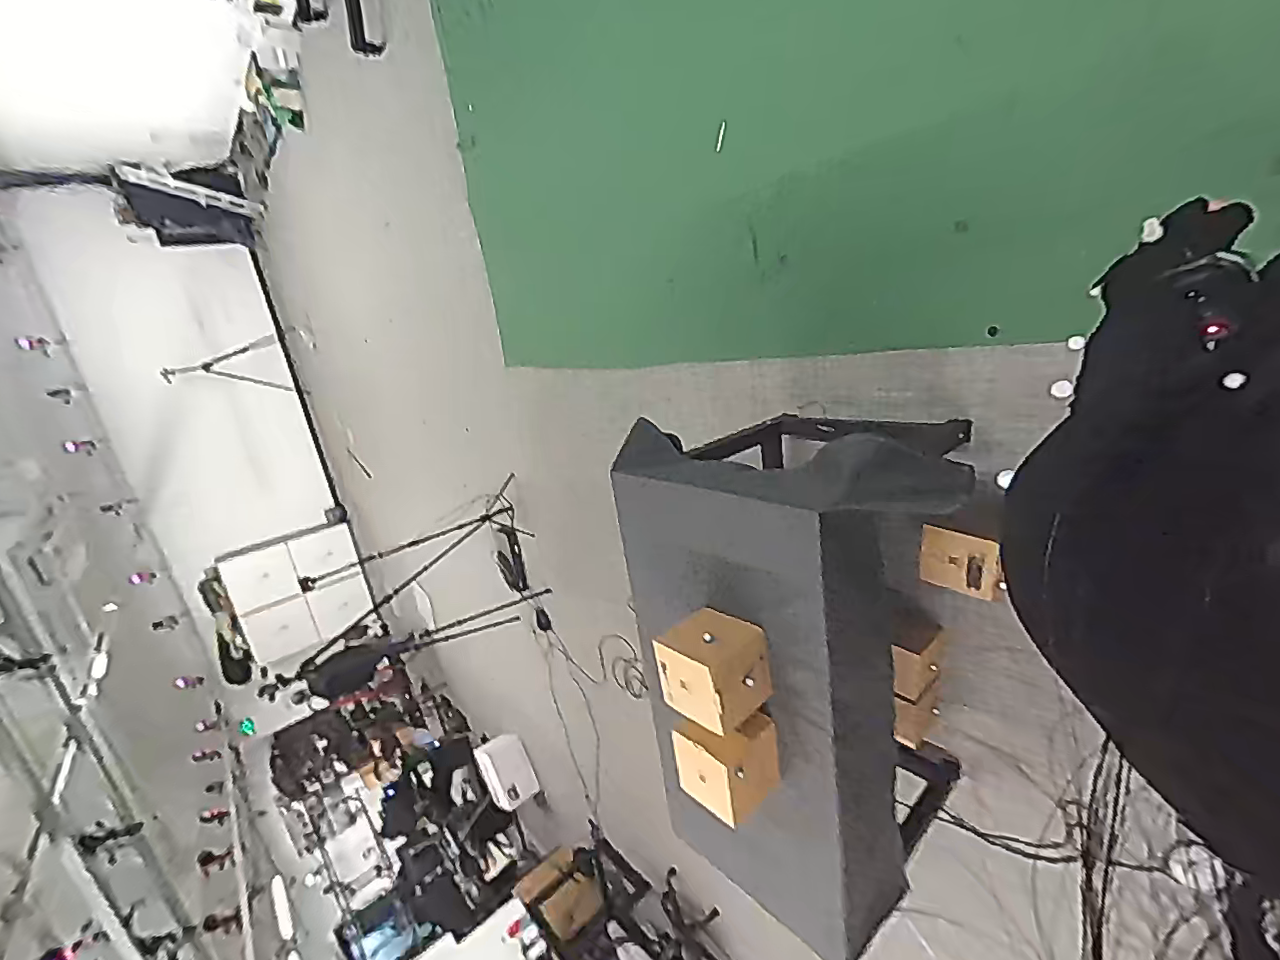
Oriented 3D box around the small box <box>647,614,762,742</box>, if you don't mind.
[{"bbox_3d":[0.145,0.409,1.154,0.179,0.176,0.168,7,112,49],"label":"small box"}]
